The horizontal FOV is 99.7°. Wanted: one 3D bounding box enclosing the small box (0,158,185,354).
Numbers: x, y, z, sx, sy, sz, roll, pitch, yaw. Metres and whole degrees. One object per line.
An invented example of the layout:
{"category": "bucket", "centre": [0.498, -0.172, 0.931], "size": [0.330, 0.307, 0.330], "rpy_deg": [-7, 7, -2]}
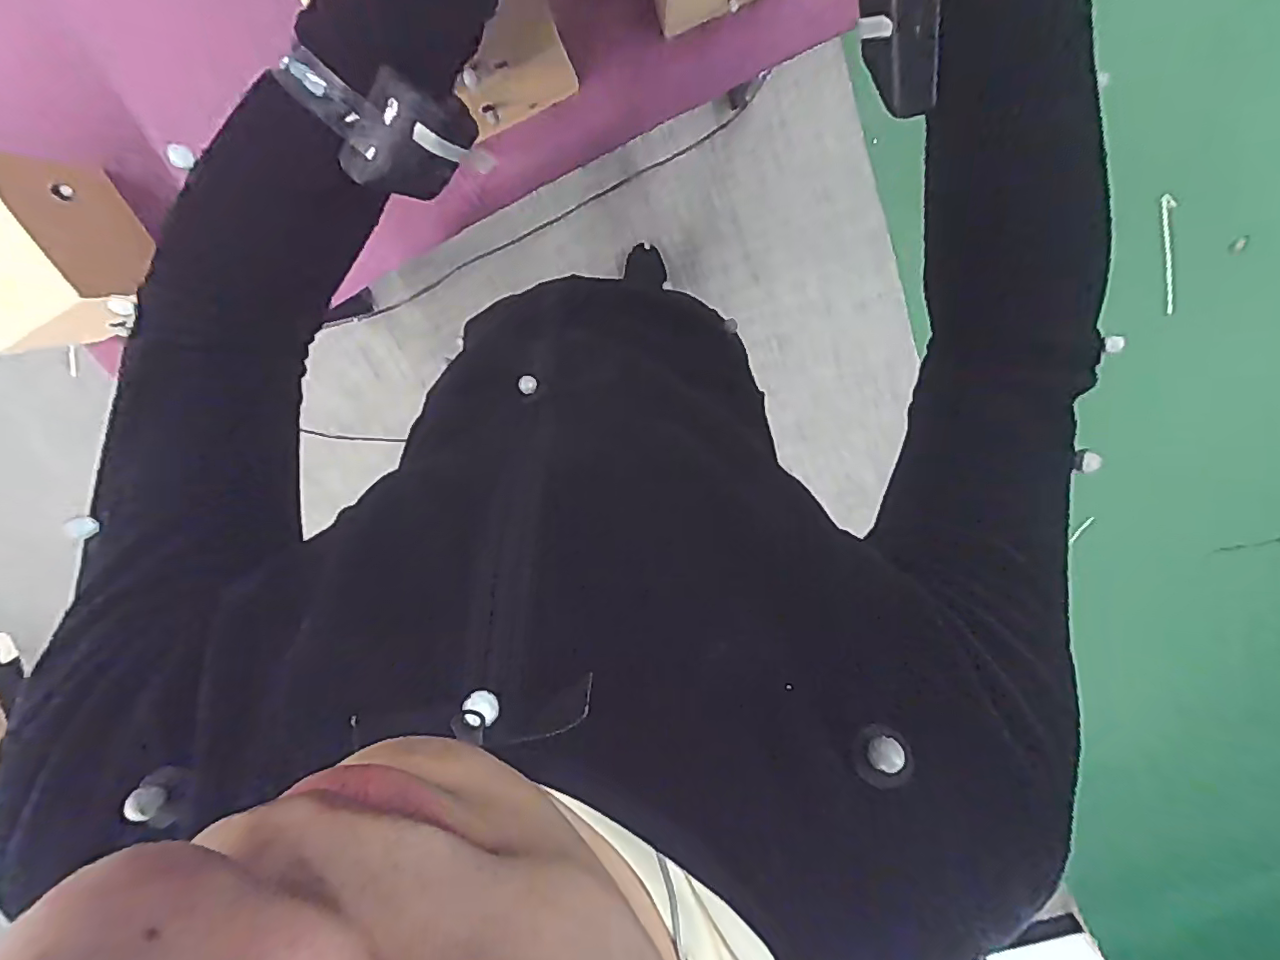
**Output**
{"category": "small box", "centre": [-0.765, -0.282, 0.698], "size": [0.168, 0.176, 0.179], "rpy_deg": [-23, 110, 10]}

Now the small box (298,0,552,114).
{"category": "small box", "centre": [-0.191, -0.447, 0.446], "size": [0.168, 0.176, 0.179], "rpy_deg": [-21, 110, 10]}

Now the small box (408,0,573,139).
{"category": "small box", "centre": [-0.189, -0.508, 0.599], "size": [0.168, 0.176, 0.179], "rpy_deg": [-21, 110, 10]}
